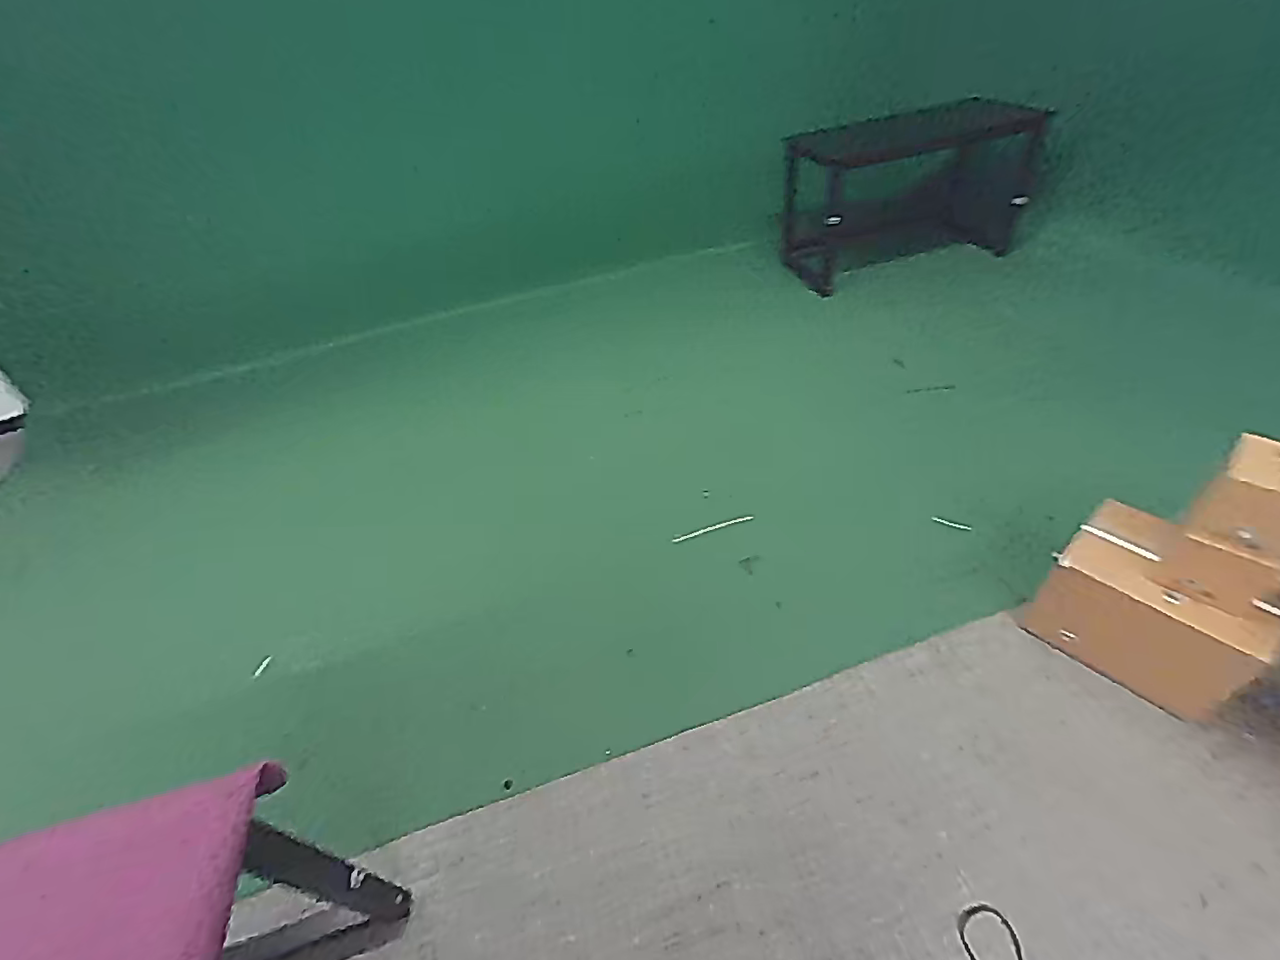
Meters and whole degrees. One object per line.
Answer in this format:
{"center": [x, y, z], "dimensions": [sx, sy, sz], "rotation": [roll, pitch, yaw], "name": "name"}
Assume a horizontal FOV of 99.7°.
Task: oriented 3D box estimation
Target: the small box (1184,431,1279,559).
{"center": [1.311, 0.030, 1.143], "dimensions": [0.168, 0.176, 0.179], "rotation": [30, 55, 36], "name": "small box"}
